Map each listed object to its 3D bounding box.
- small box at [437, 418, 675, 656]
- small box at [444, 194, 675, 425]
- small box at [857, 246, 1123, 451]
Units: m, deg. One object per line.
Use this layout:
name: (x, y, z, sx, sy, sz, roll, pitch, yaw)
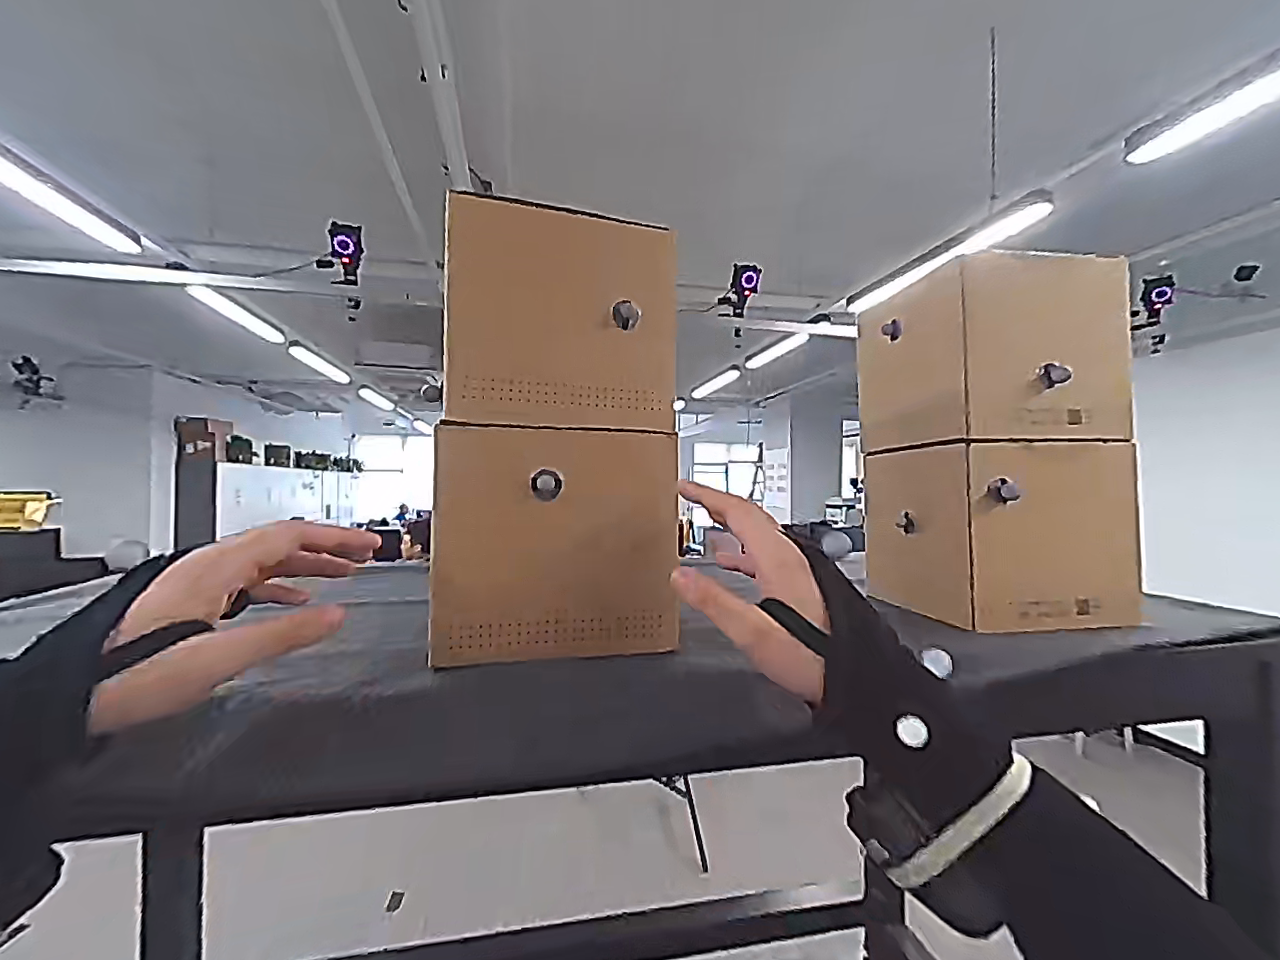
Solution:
small box: (-0.074, 0.046, 0.464, 0.179, 0.176, 0.168, 1, -3, -15)
small box: (-0.079, -0.115, 0.479, 0.179, 0.176, 0.168, 0, -3, -20)
small box: (0.345, -0.119, 0.561, 0.168, 0.176, 0.179, -1, -1, -8)
